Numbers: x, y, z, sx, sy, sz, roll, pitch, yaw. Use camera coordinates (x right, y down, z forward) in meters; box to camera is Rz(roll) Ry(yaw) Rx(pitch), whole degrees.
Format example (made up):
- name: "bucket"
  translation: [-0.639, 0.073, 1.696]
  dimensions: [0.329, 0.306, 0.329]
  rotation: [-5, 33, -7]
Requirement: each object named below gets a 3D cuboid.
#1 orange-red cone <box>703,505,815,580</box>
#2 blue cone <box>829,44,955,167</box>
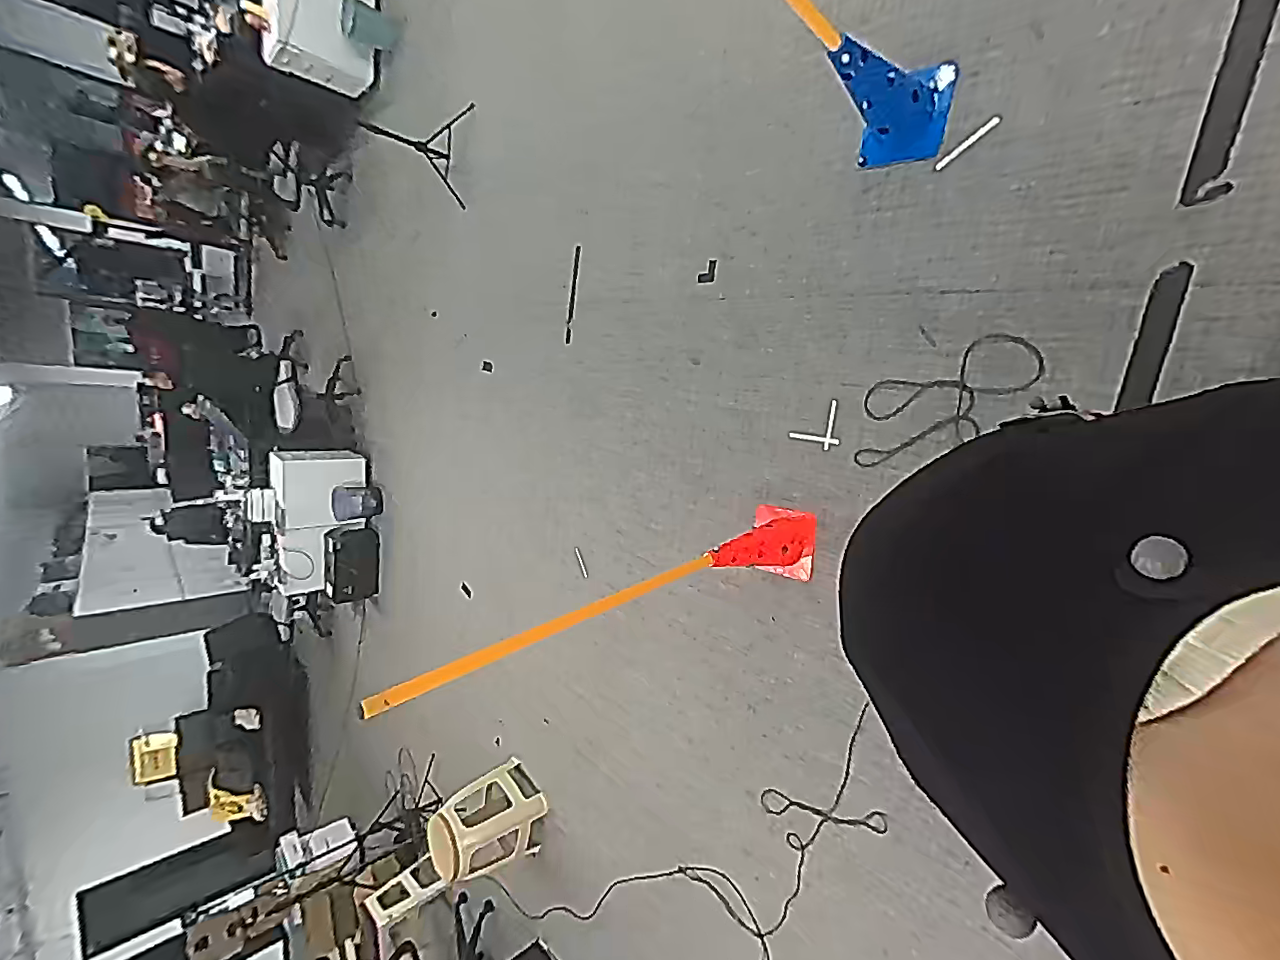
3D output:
- name: "orange-red cone"
  translation: [0.298, 0.192, 1.476]
  dimensions: [0.199, 0.360, 0.198]
  rotation: [11, 101, 44]
- name: "blue cone"
  translation: [0.522, -0.857, 1.185]
  dimensions: [0.193, 0.380, 0.192]
  rotation: [22, 109, 44]
